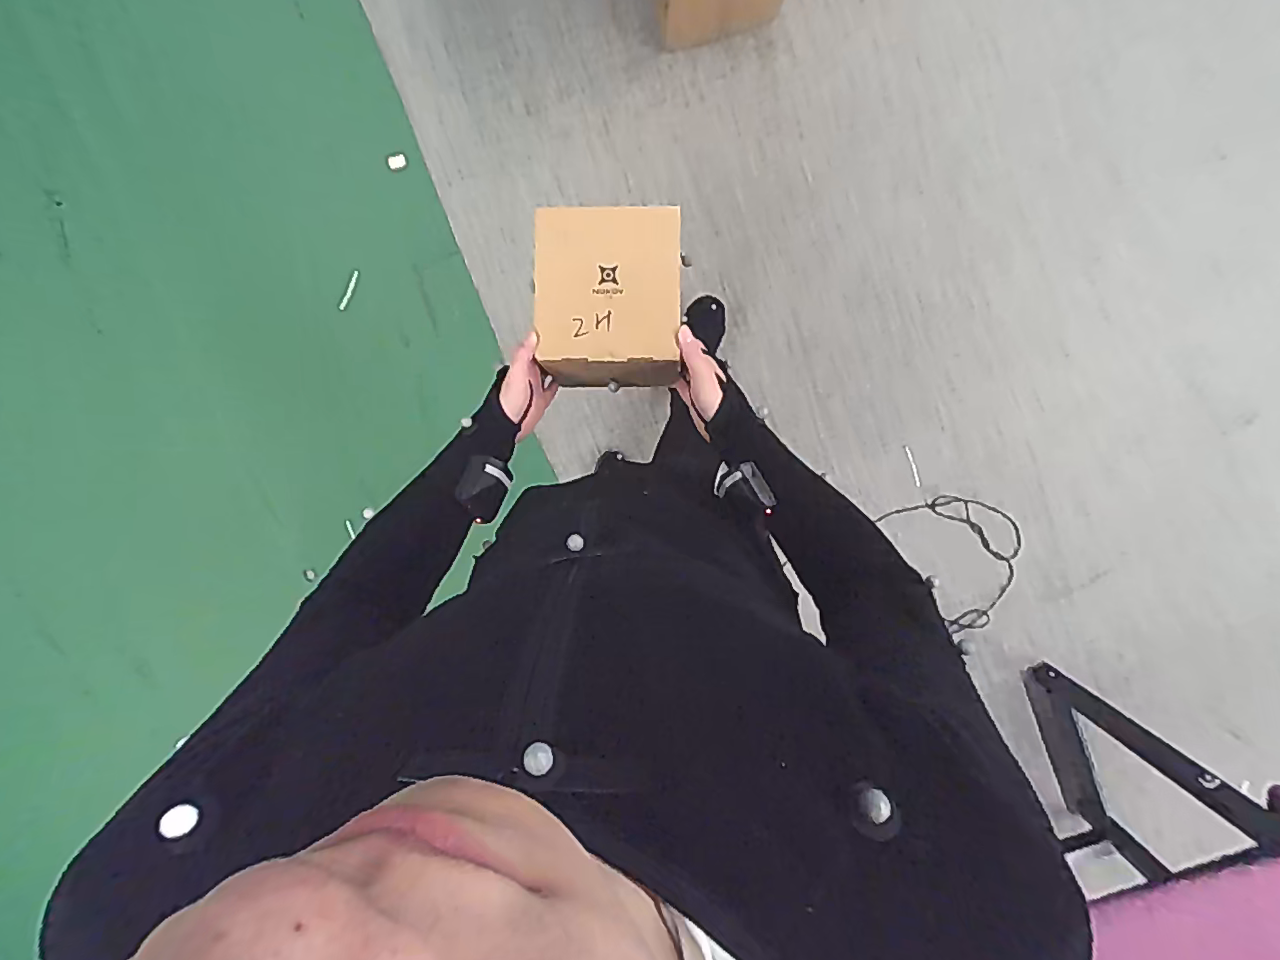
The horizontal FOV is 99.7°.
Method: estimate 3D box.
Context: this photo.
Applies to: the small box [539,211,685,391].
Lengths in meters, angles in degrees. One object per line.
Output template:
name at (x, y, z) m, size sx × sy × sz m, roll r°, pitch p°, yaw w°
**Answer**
small box at (-0.031, -0.217, 0.691) m, size 0.168 × 0.176 × 0.179 m, roll 0°, pitch 90°, yaw 1°
